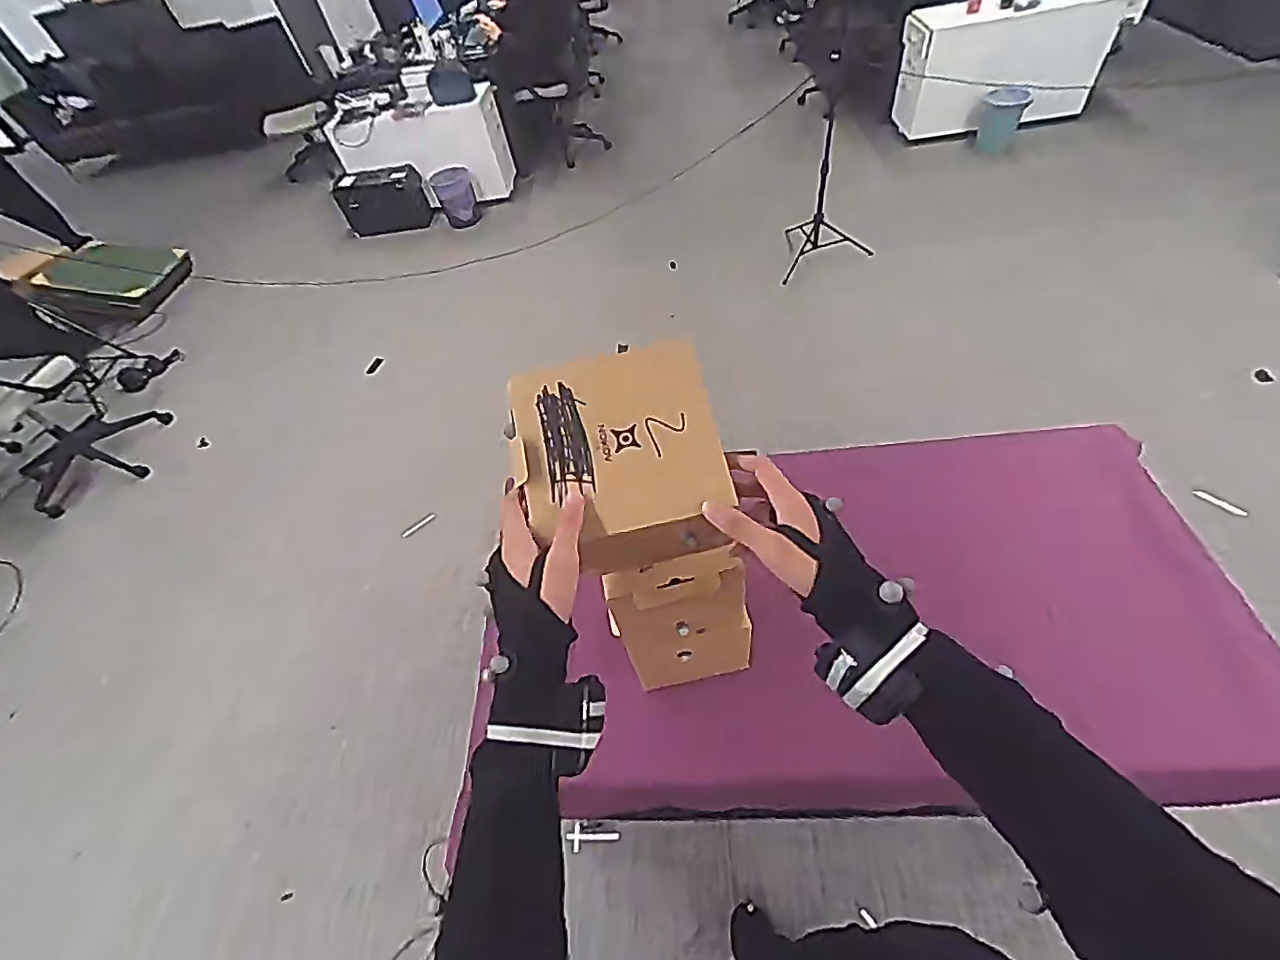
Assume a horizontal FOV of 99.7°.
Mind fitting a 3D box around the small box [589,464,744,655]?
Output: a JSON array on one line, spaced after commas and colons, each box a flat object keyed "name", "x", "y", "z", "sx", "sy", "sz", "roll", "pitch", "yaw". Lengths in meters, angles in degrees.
[{"name": "small box", "x": 0.035, "y": 0.110, "z": 0.733, "sx": 0.168, "sy": 0.176, "sz": 0.179, "roll": -14, "pitch": 51, "yaw": -1}]

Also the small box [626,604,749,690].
[{"name": "small box", "x": 0.066, "y": 0.215, "z": 0.857, "sx": 0.179, "sy": 0.176, "sz": 0.168, "roll": -12, "pitch": 51, "yaw": -1}]
